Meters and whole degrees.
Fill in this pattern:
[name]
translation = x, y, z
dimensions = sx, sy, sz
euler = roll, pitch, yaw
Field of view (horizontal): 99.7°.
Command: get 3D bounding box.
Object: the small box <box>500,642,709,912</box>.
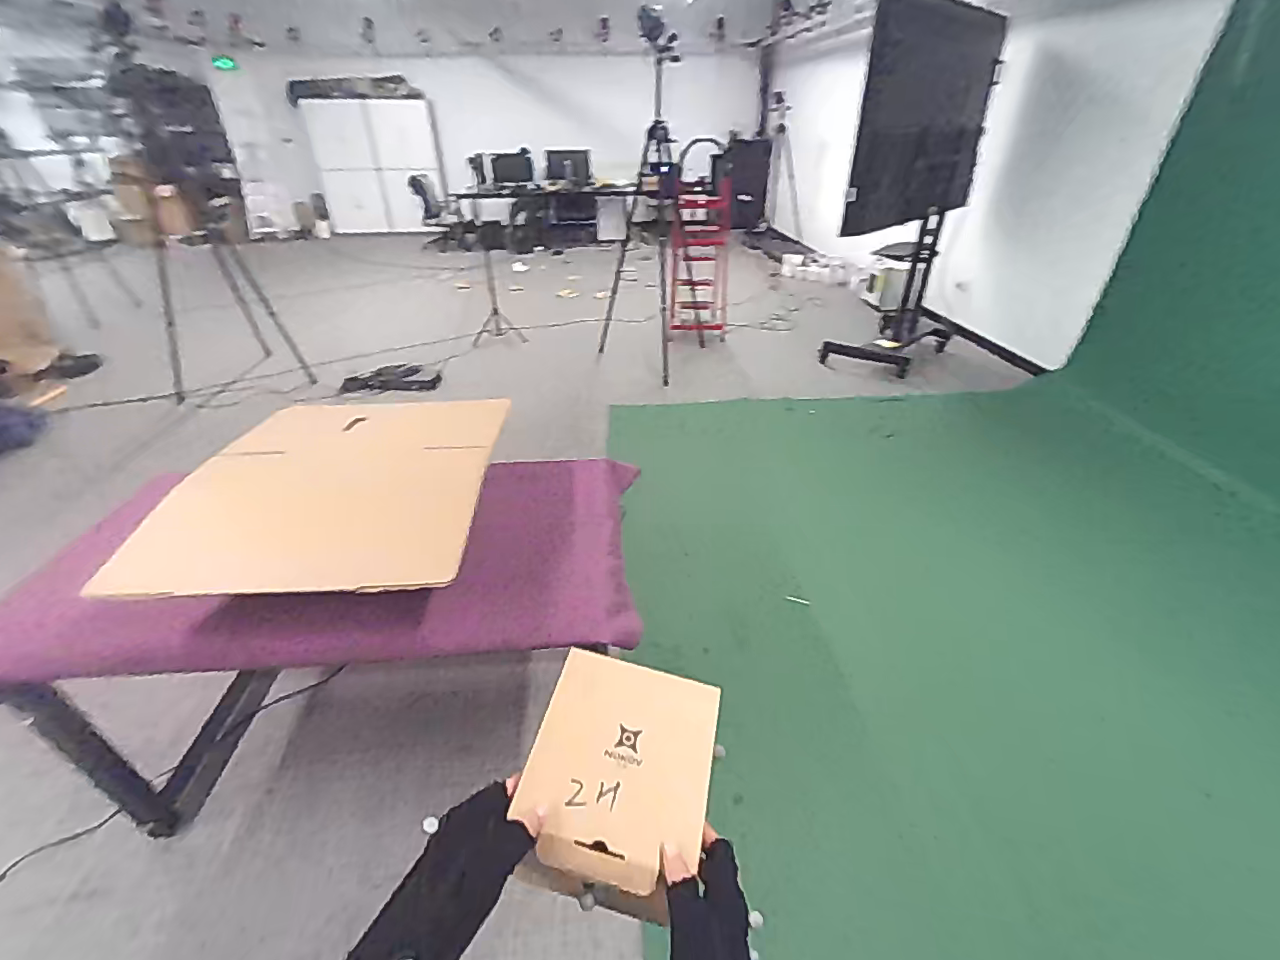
[small box]
translation = -0.034, 0.307, 0.565
dimensions = 0.168, 0.176, 0.179
euler = 13, 41, 6
